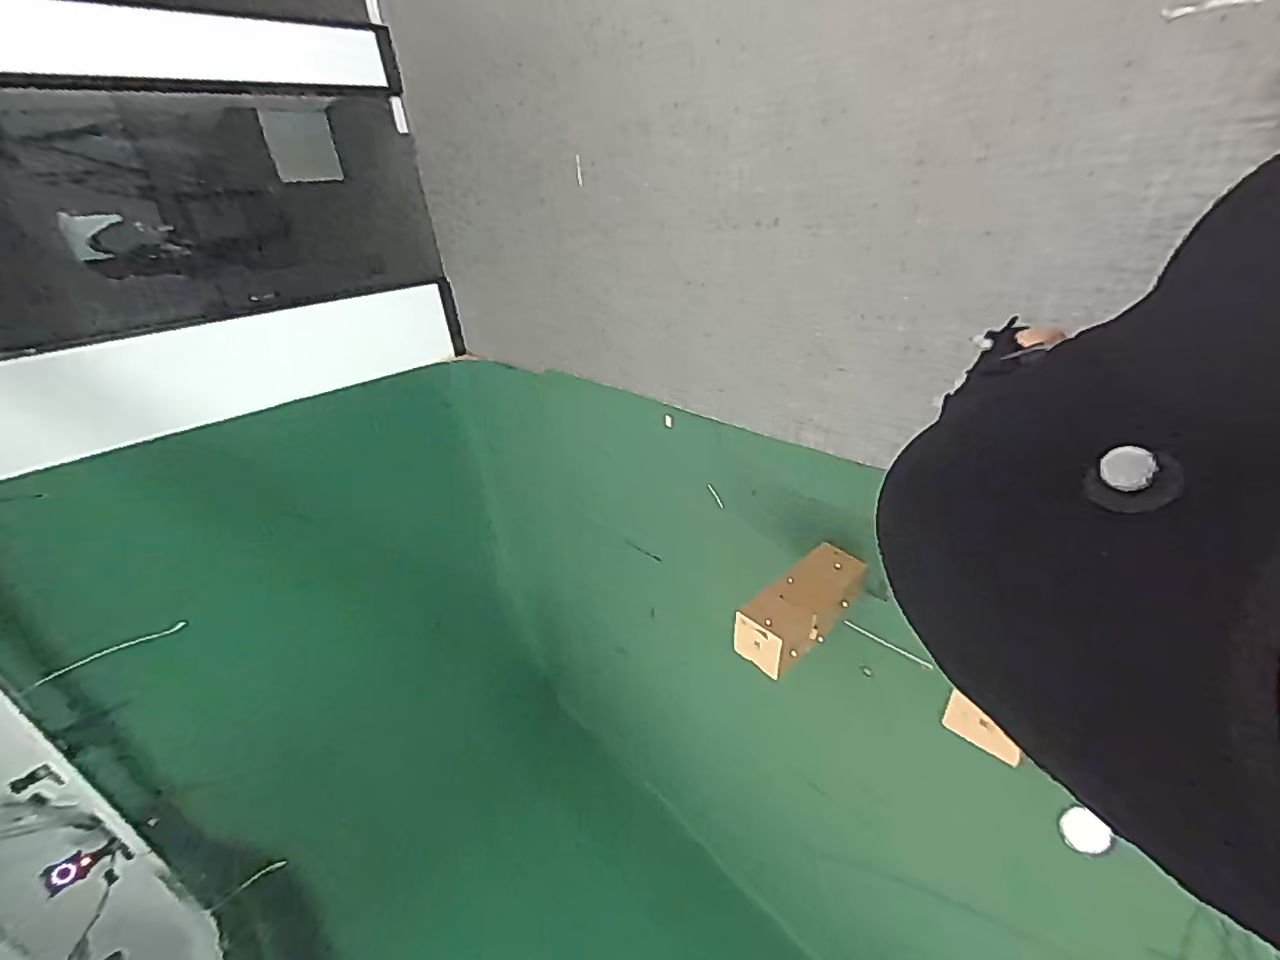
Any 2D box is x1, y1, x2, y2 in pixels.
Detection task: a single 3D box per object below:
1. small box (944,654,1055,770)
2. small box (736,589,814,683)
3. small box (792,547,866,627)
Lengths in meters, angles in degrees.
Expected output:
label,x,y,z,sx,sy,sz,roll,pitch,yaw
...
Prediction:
label,x,y,z,sx,sy,sz,roll,pitch,yaw
small box,0.913,0.578,1.371,0.179,0.176,0.168,26,129,41
small box,0.413,0.471,1.653,0.168,0.176,0.179,28,133,41
small box,0.650,0.358,1.851,0.168,0.176,0.179,32,134,37
